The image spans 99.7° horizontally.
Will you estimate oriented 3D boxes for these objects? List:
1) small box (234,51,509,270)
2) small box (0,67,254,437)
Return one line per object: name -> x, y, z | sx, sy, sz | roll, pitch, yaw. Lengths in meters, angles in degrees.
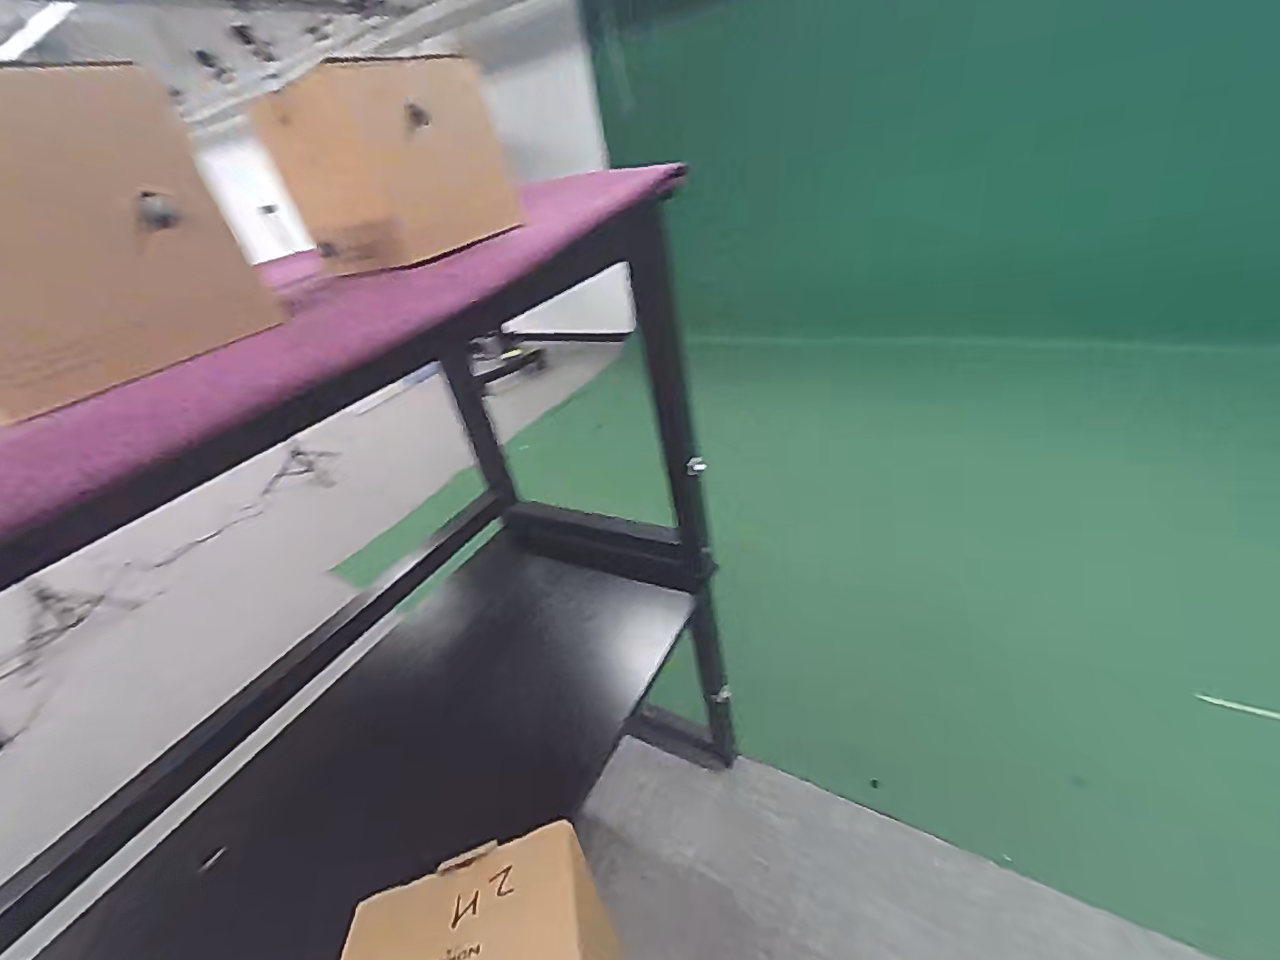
small box -> -0.274, -0.334, 0.586 | 0.168, 0.176, 0.179 | 8, 38, 32
small box -> -0.403, -0.147, 0.355 | 0.168, 0.176, 0.179 | 7, 39, 28
